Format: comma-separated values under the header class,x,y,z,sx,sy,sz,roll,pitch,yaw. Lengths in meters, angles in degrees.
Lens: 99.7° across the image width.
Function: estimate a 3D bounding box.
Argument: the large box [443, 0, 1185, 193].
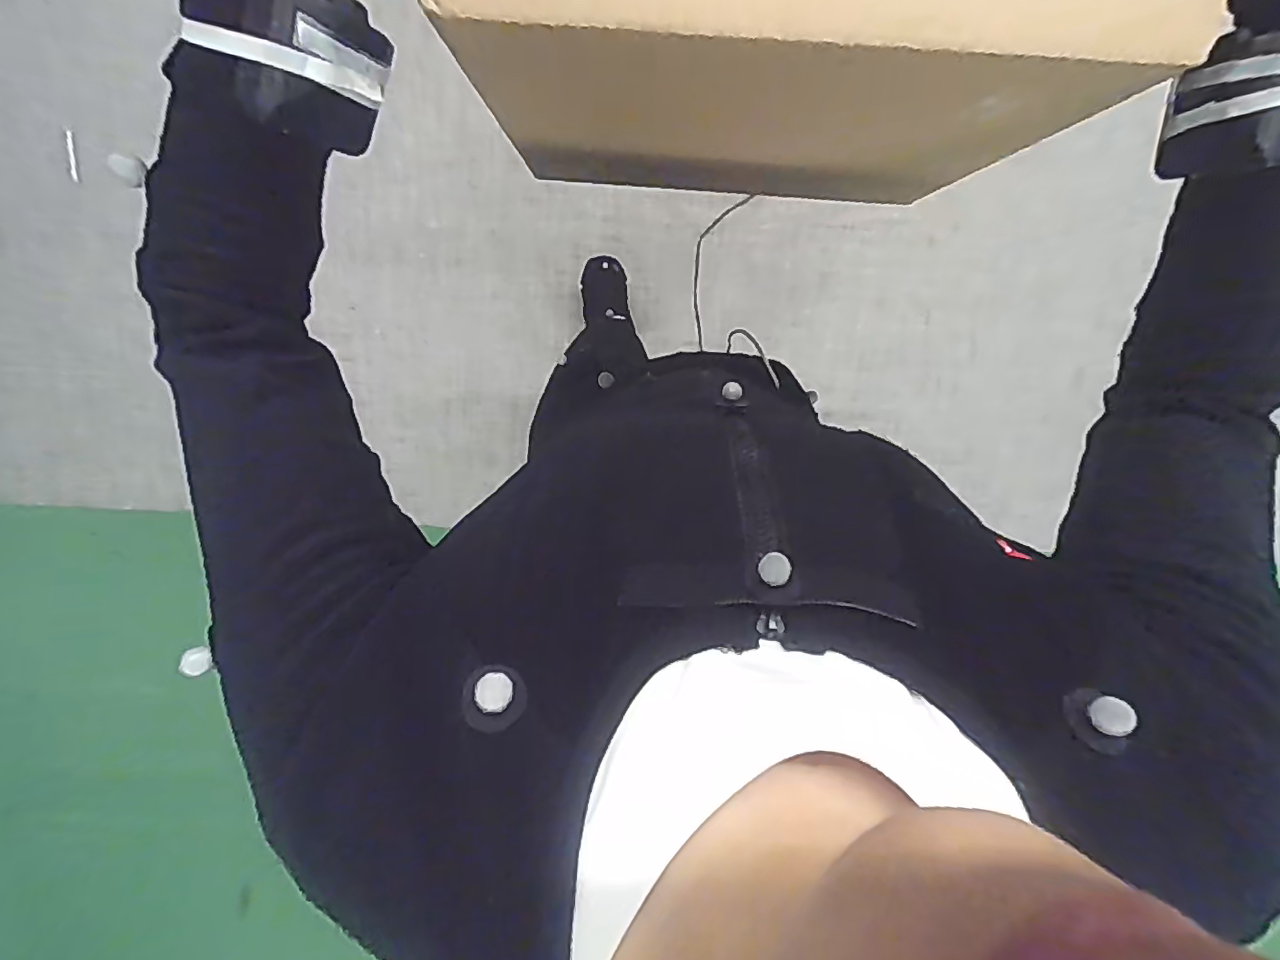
class,x,y,z,sx,sy,sz,roll,pitch,yaw
large box,0.094,-0.421,0.397,0.408,0.320,0.320,3,106,-1
